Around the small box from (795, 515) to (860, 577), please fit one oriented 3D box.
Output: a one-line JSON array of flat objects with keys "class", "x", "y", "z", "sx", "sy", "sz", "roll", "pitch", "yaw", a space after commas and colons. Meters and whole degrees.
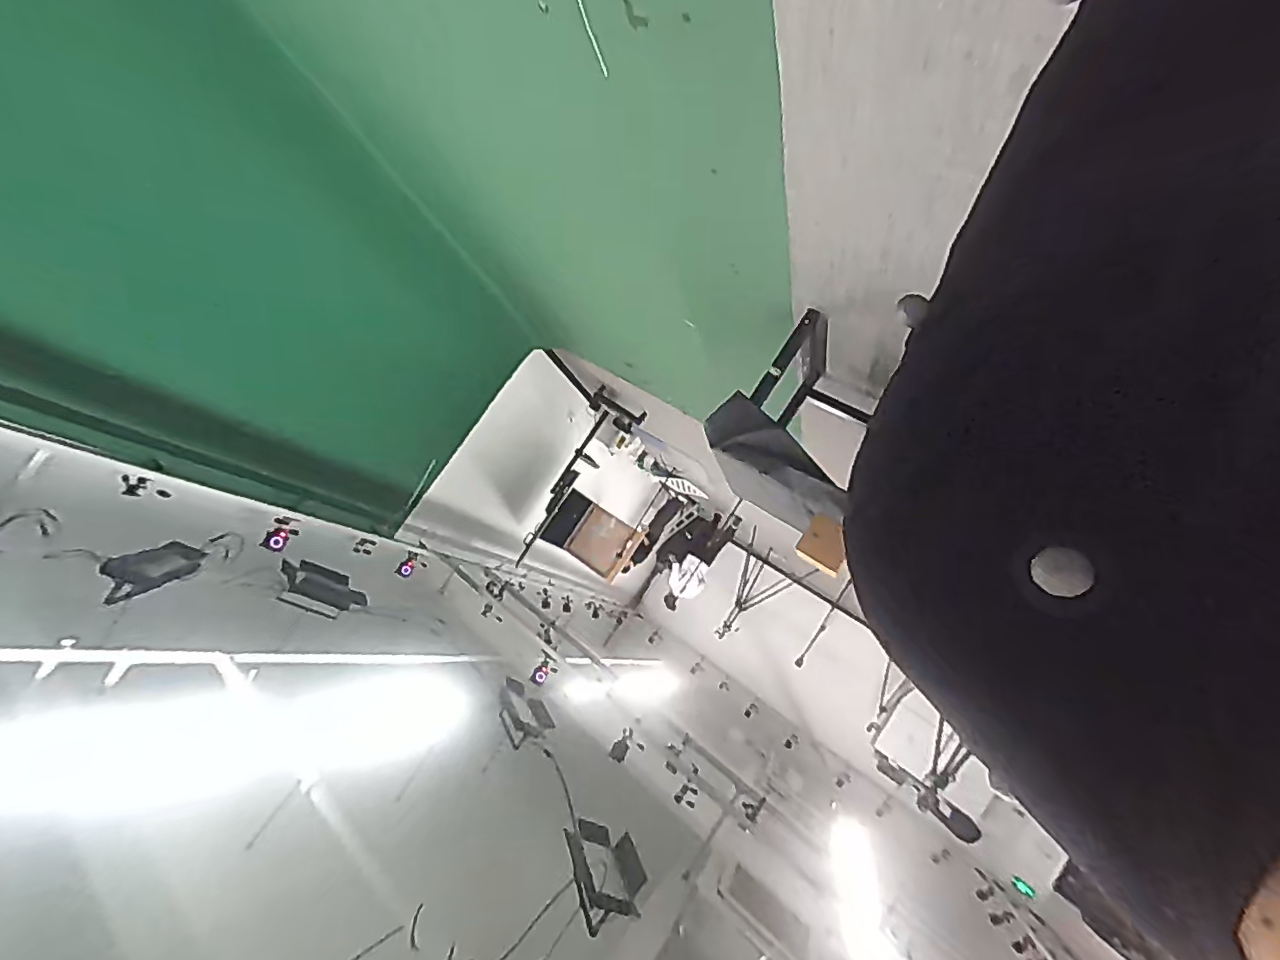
[{"class": "small box", "x": 0.724, "y": 0.249, "z": 2.089, "sx": 0.179, "sy": 0.176, "sz": 0.168, "roll": 31, "pitch": 175, "yaw": 25}]
